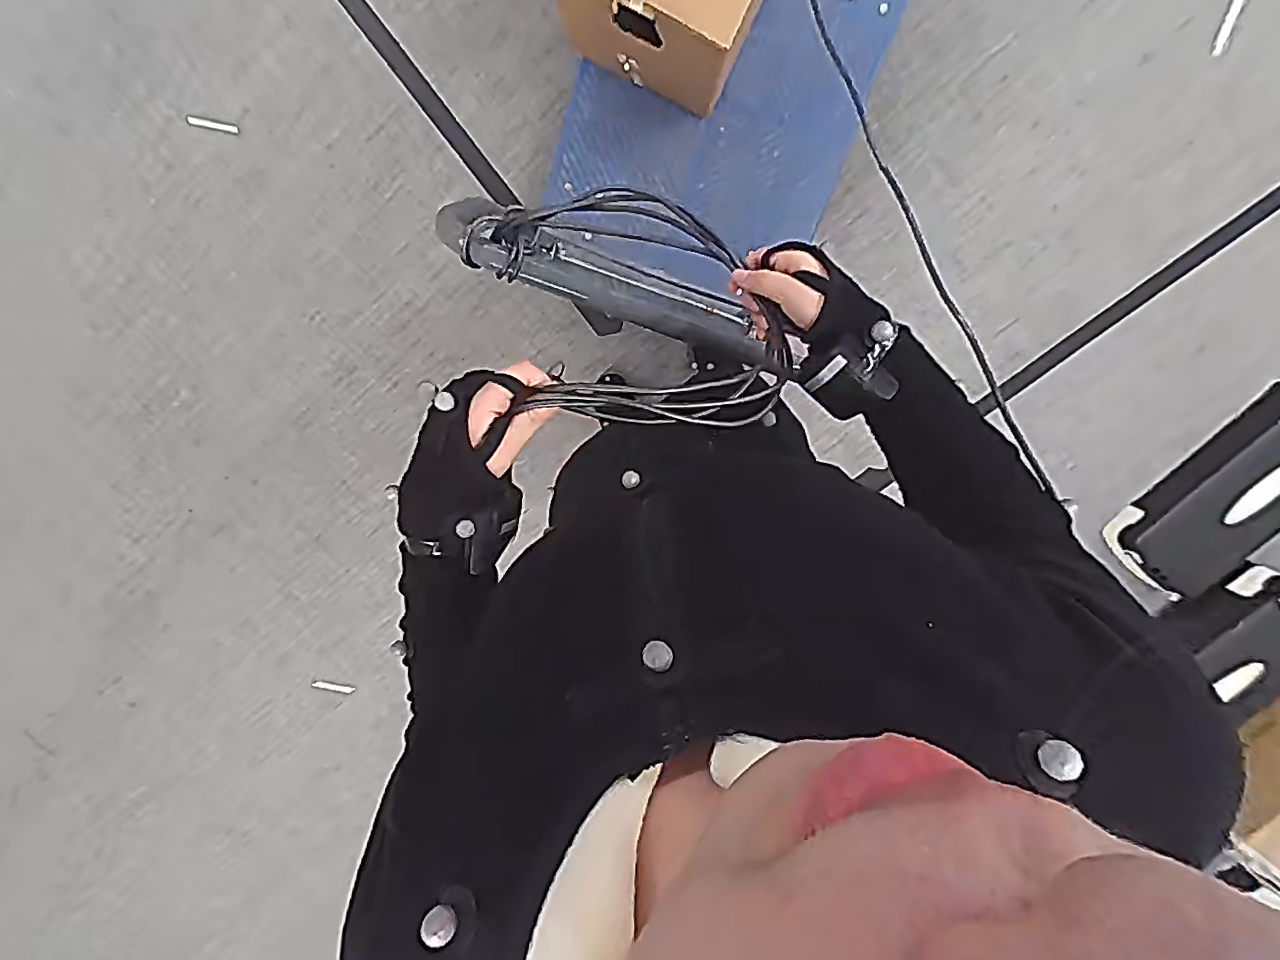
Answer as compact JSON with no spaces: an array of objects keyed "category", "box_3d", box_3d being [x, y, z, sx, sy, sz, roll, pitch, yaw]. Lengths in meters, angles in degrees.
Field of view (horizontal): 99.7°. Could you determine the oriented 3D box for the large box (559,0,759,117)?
[{"category":"large box","box_3d":[0.077,-0.927,0.899,0.320,0.320,0.408,24,105,-6]}]
